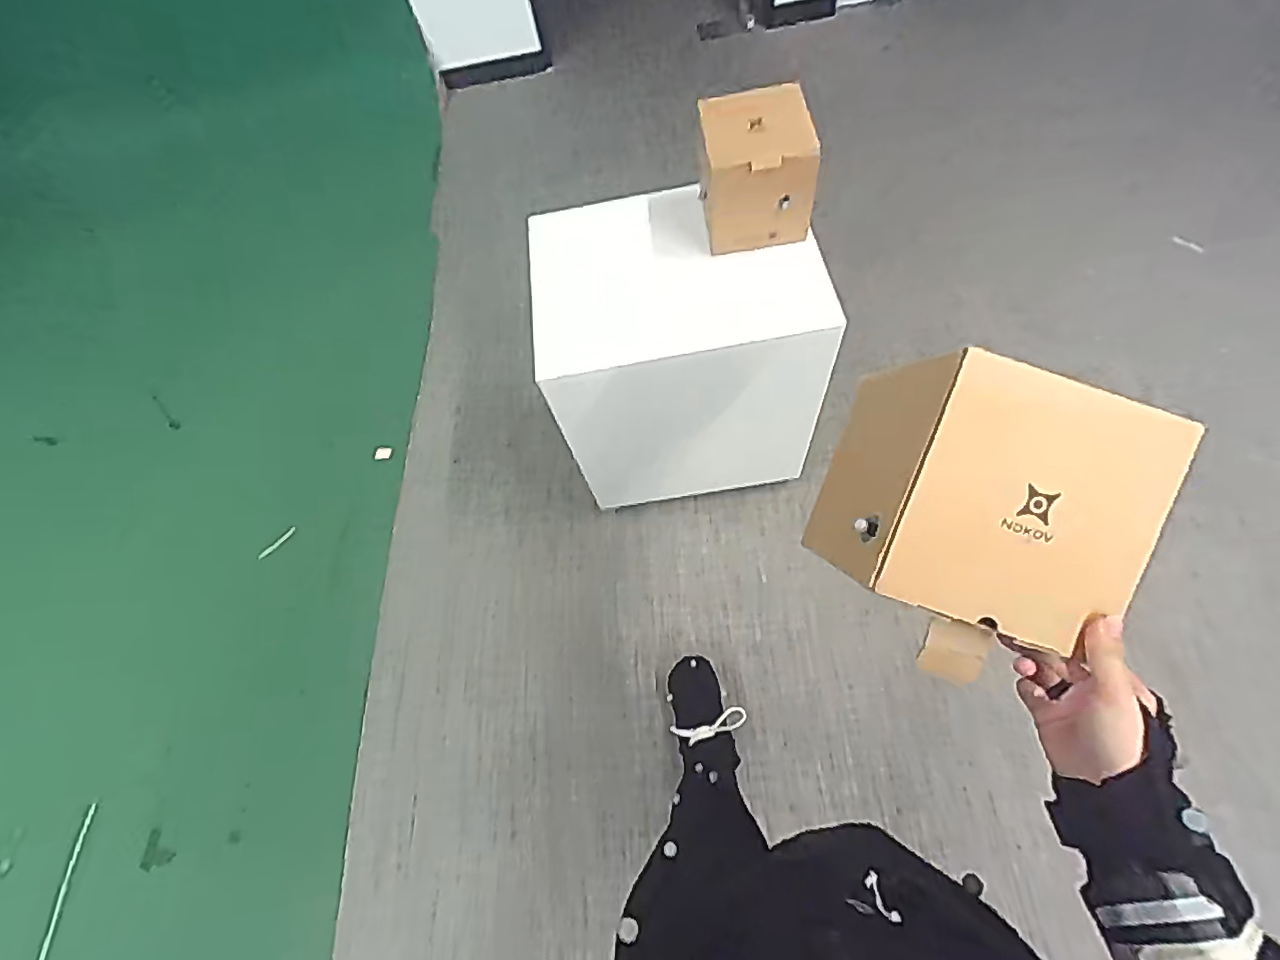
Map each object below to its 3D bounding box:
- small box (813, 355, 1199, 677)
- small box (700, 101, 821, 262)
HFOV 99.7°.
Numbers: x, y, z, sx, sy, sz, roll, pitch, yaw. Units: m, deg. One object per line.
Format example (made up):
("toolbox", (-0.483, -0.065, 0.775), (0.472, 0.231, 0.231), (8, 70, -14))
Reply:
("small box", (0.261, 0.020, 0.435), (0.168, 0.176, 0.179), (19, 95, 0))
("small box", (0.196, -0.491, 0.914), (0.168, 0.176, 0.179), (-7, 62, 5))
